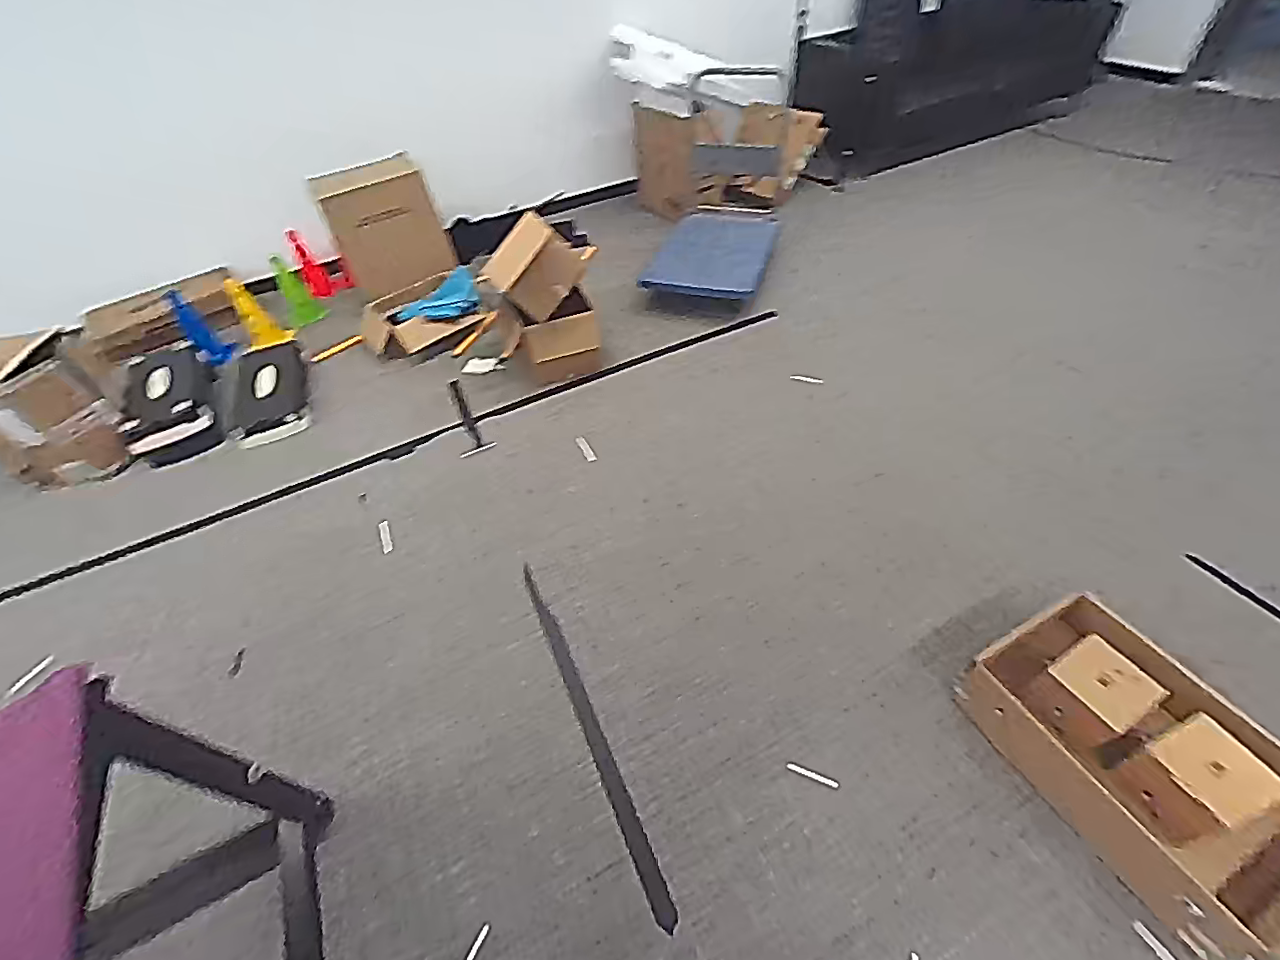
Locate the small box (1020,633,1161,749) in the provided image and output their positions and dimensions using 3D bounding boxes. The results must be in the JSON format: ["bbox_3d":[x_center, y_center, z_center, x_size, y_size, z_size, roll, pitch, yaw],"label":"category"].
[{"bbox_3d":[1.051,0.504,1.284,0.179,0.176,0.168,-25,52,-17],"label":"small box"}]

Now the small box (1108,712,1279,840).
[{"bbox_3d":[1.170,0.633,1.155,0.179,0.176,0.168,-20,48,-12],"label":"small box"}]
